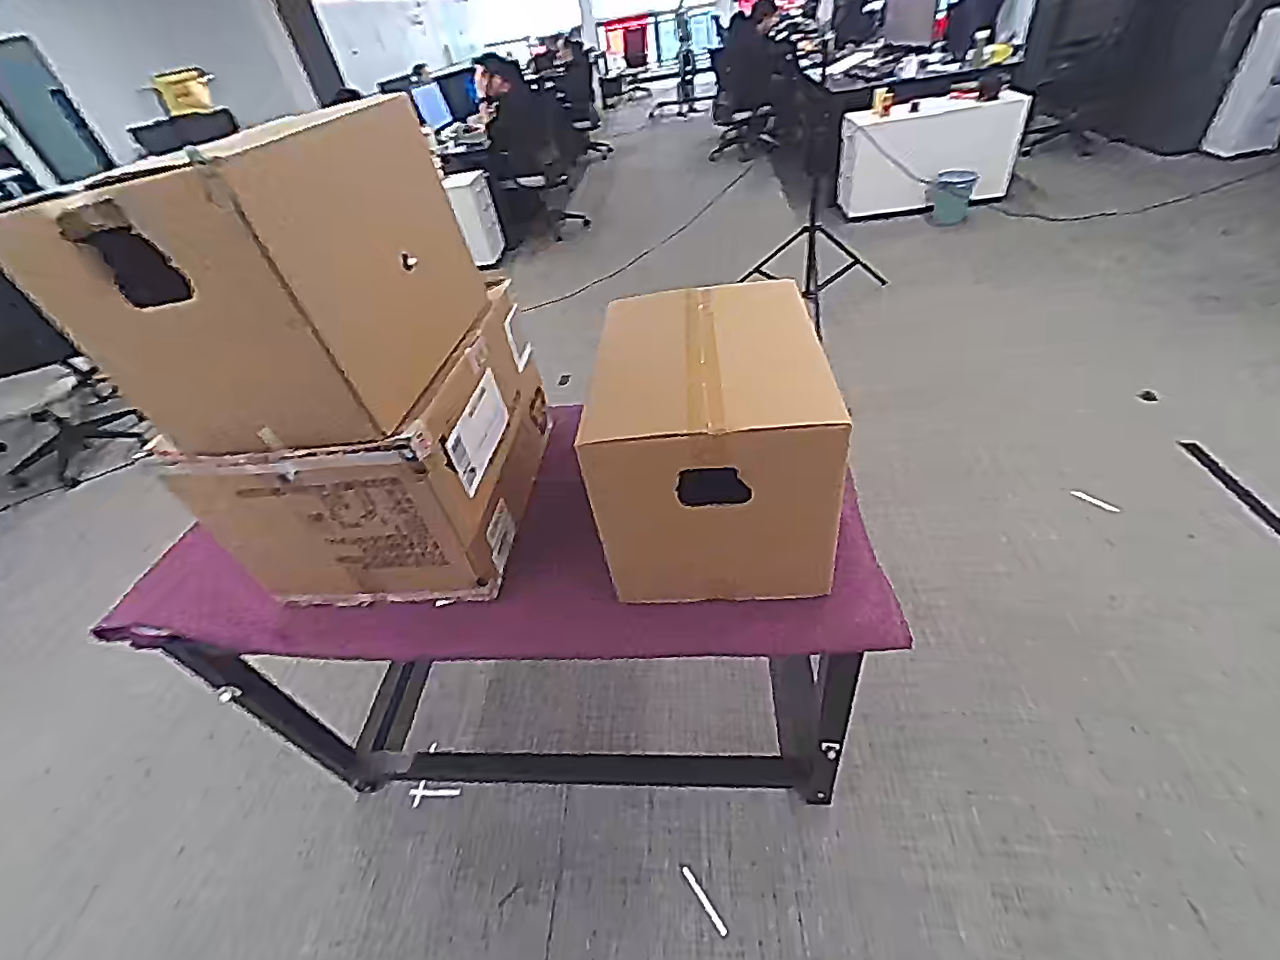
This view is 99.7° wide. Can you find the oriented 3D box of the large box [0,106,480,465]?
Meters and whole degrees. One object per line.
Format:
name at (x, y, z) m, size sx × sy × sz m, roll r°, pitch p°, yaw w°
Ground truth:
large box at (-0.468, -0.275, 0.749) m, size 0.320 × 0.320 × 0.408 m, roll -6°, pitch 41°, yaw 12°
